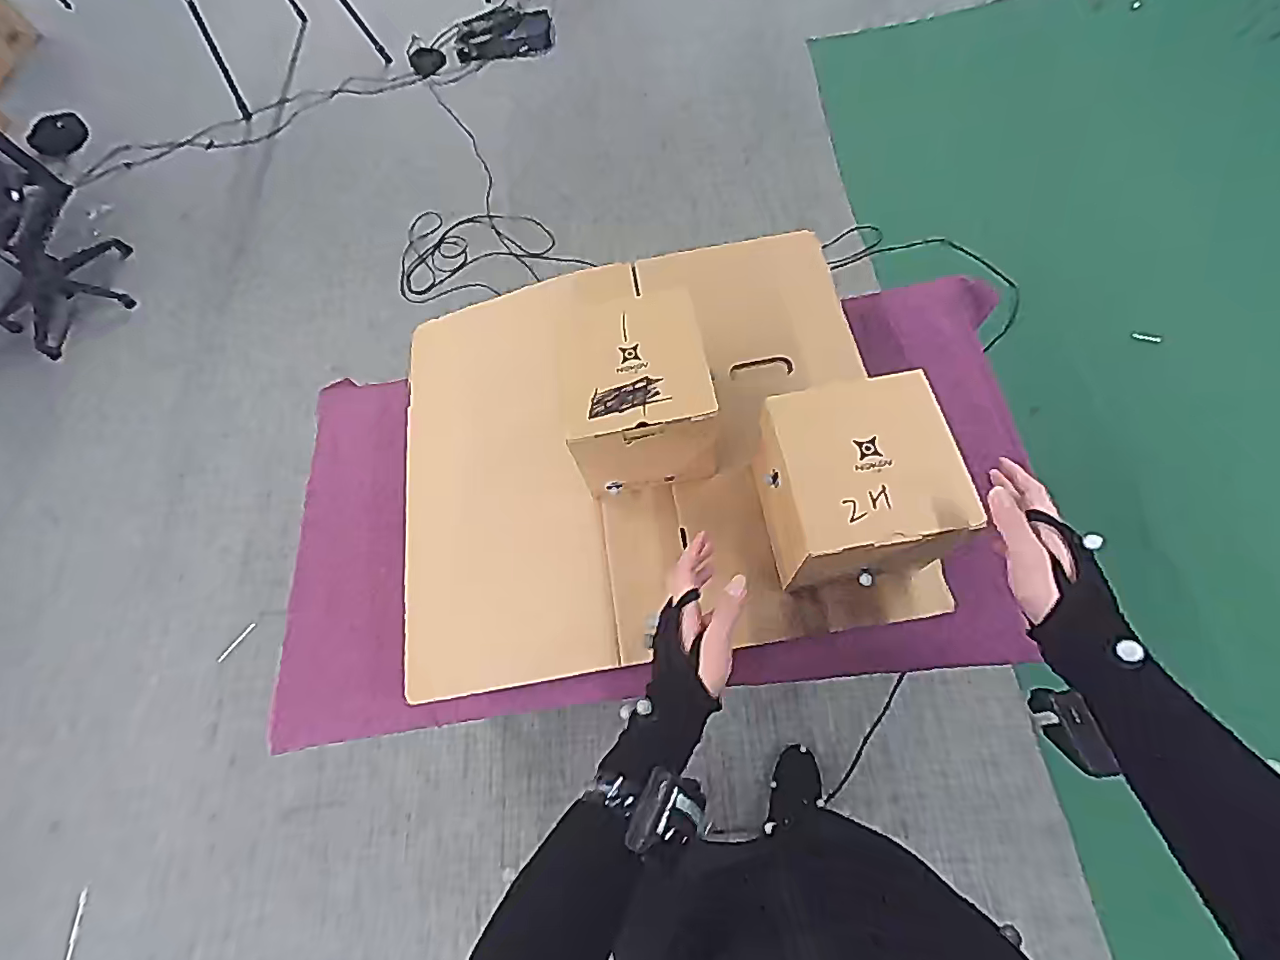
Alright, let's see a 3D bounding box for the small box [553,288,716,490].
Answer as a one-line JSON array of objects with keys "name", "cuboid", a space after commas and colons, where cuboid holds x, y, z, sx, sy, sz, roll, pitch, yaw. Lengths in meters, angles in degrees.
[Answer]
[{"name": "small box", "cuboid": [-0.002, -0.099, 0.666, 0.168, 0.176, 0.179, -10, 65, 1]}]
